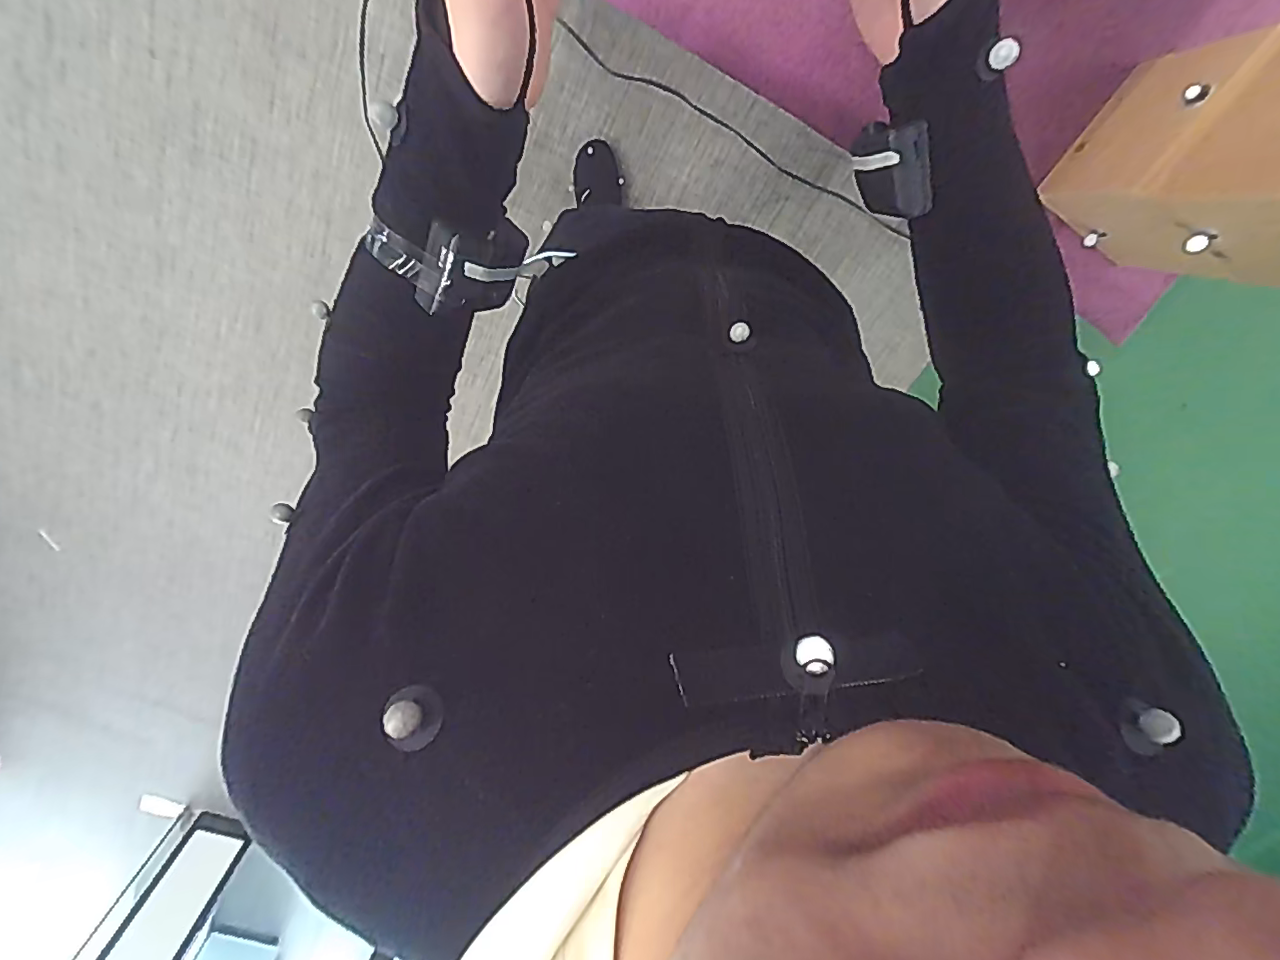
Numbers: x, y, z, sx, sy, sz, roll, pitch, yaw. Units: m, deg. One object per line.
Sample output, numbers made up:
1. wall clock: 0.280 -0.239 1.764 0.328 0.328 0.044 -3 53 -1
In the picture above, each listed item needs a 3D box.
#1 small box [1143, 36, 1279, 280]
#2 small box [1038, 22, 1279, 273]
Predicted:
1. small box: 0.631 -0.296 0.482 0.168 0.176 0.179 29 115 -12
2. small box: 0.630 -0.370 0.627 0.179 0.176 0.168 28 114 -13
